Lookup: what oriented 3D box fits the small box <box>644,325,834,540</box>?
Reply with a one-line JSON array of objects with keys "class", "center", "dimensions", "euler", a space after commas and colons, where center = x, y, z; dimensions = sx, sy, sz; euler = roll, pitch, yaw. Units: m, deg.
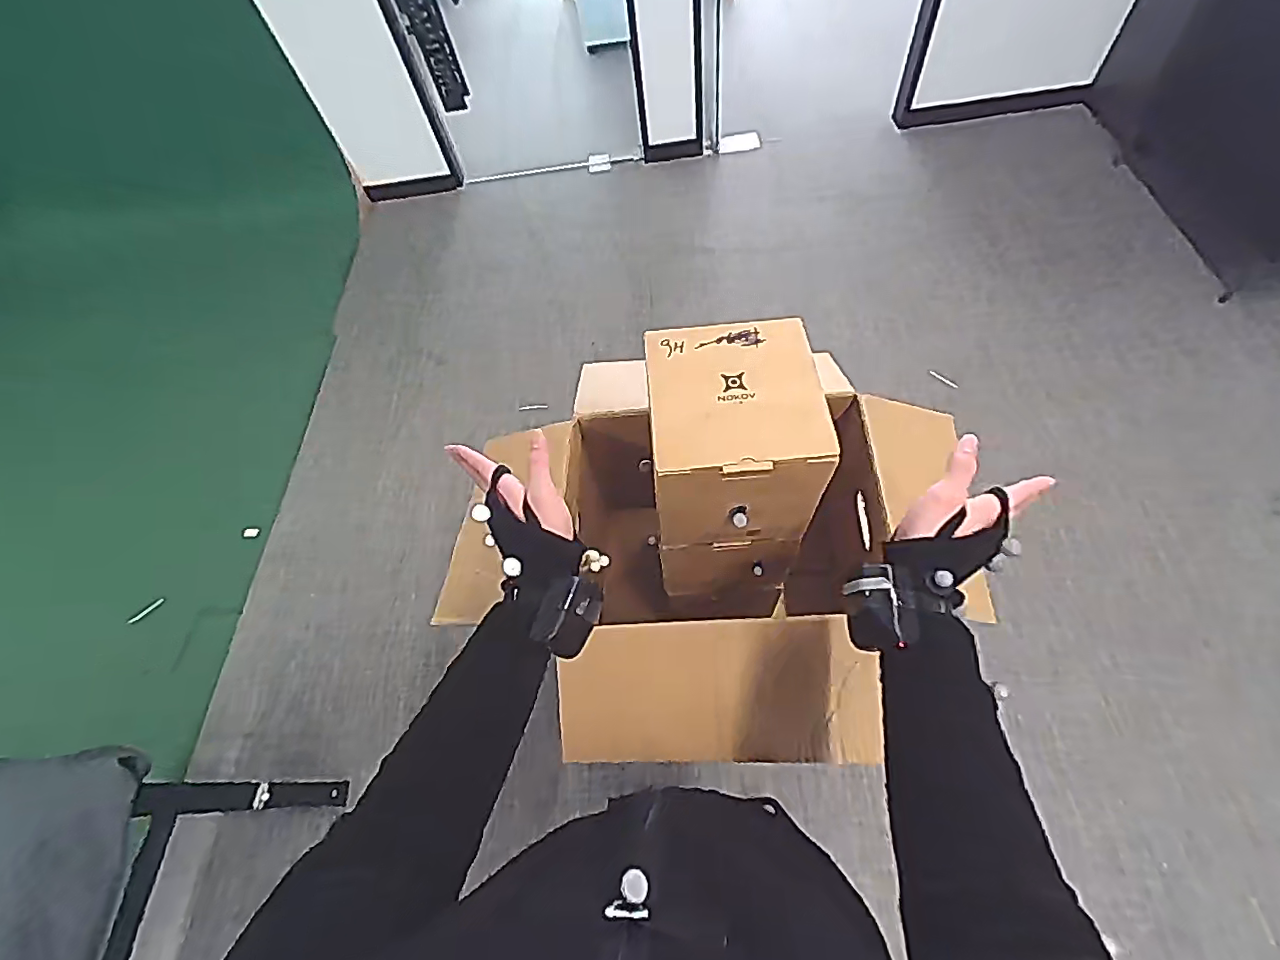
[{"class": "small box", "center": [0.094, -0.041, 0.593], "dimensions": [0.168, 0.176, 0.179], "euler": [-4, 62, 1]}]
